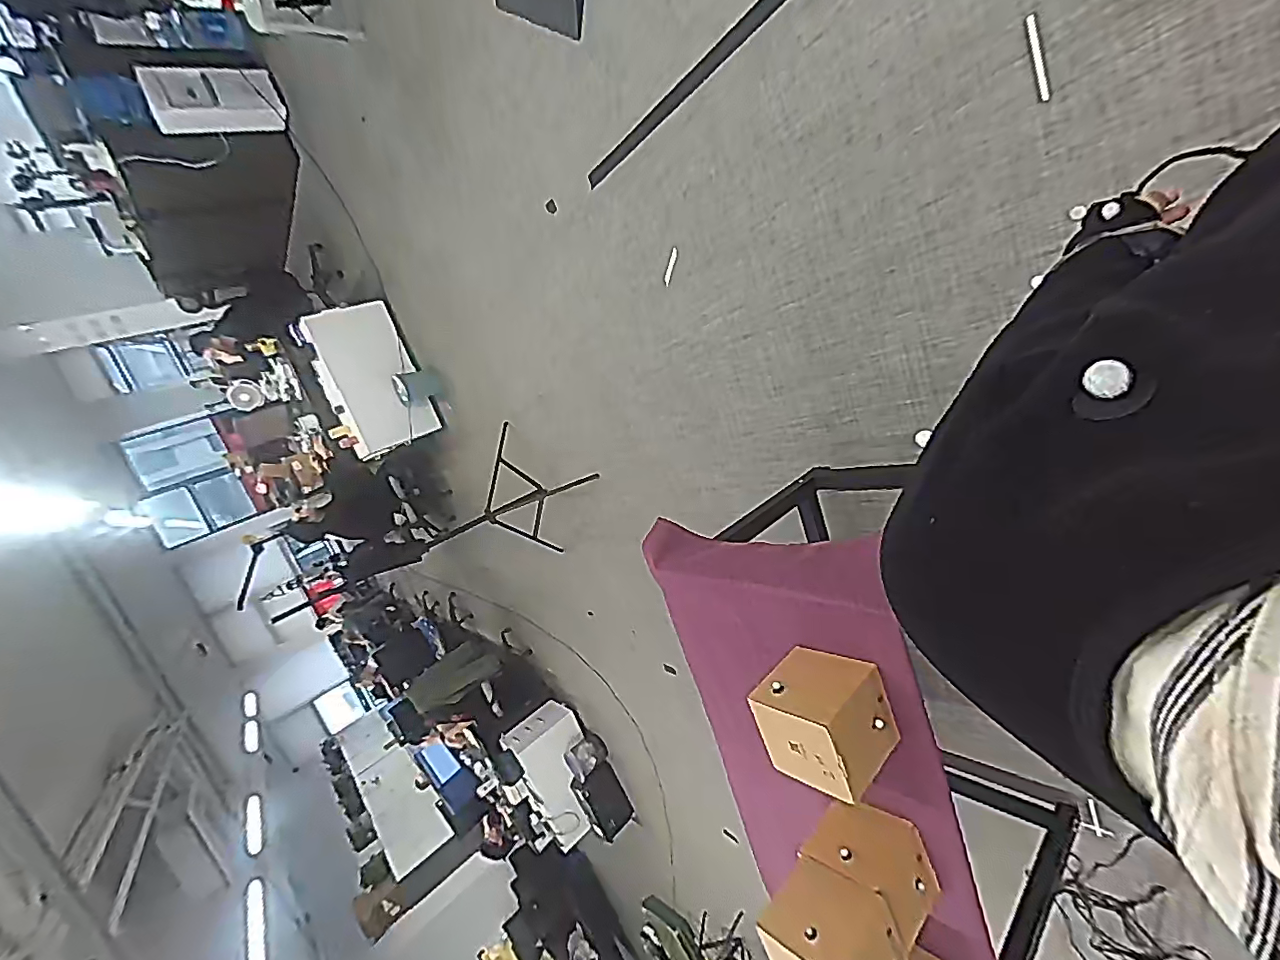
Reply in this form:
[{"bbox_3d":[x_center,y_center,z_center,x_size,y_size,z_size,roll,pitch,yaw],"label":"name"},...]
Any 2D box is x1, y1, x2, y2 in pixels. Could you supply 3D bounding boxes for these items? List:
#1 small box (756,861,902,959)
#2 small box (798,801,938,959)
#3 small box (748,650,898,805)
[{"bbox_3d":[0.350,0.847,0.981,0.179,0.176,0.168,-10,106,54],"label":"small box"},{"bbox_3d":[0.459,0.785,1.087,0.179,0.176,0.168,-12,104,54],"label":"small box"},{"bbox_3d":[0.335,0.437,0.989,0.179,0.176,0.168,-6,111,53],"label":"small box"}]
